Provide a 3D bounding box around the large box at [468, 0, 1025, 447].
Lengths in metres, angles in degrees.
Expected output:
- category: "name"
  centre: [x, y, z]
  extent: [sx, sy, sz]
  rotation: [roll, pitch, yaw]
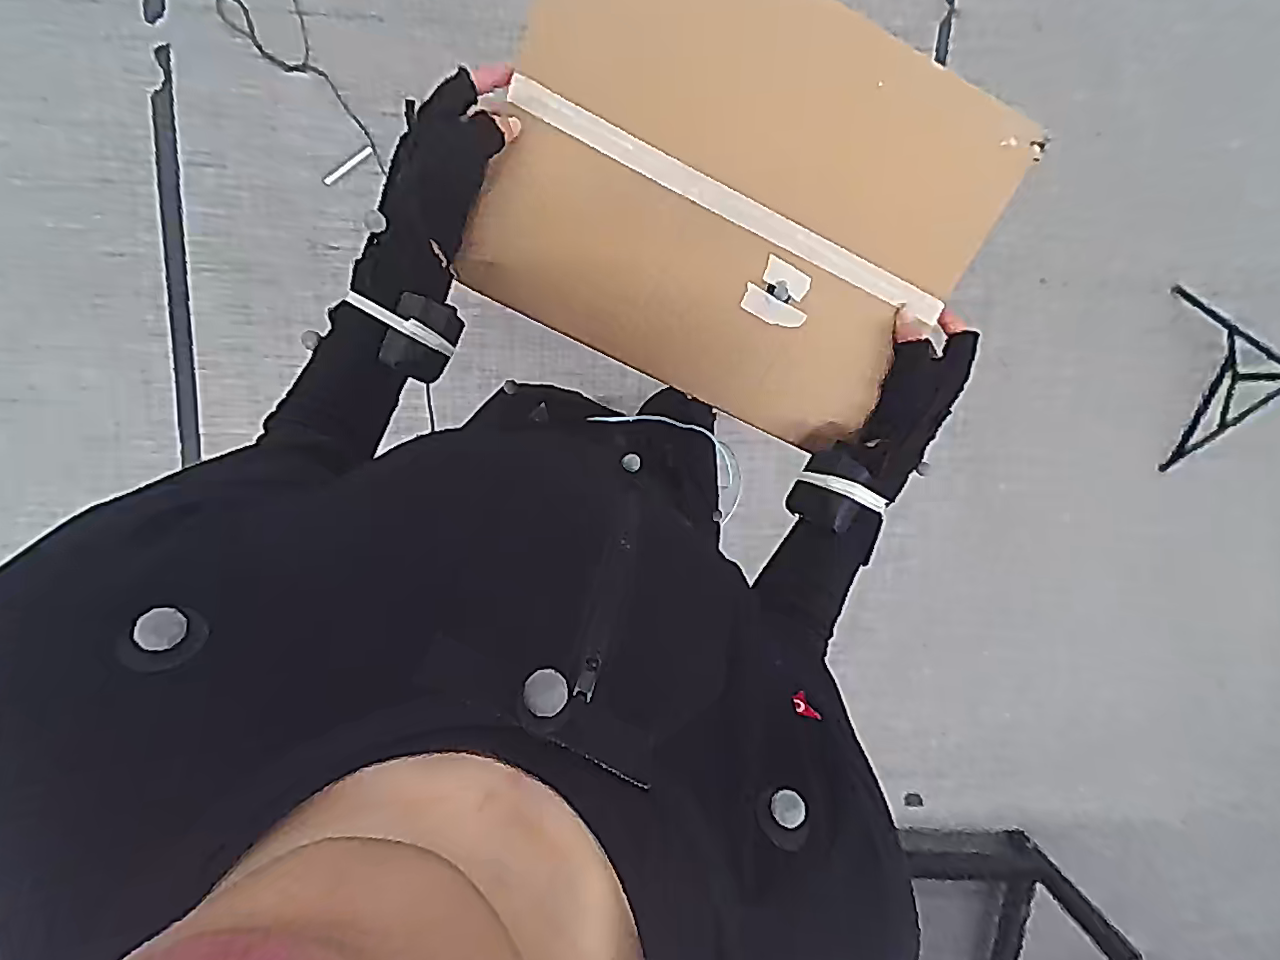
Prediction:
- category: "large box"
  centre: [0.083, -0.285, 0.612]
  extent: [0.408, 0.320, 0.320]
  rotation: [25, 107, -8]
